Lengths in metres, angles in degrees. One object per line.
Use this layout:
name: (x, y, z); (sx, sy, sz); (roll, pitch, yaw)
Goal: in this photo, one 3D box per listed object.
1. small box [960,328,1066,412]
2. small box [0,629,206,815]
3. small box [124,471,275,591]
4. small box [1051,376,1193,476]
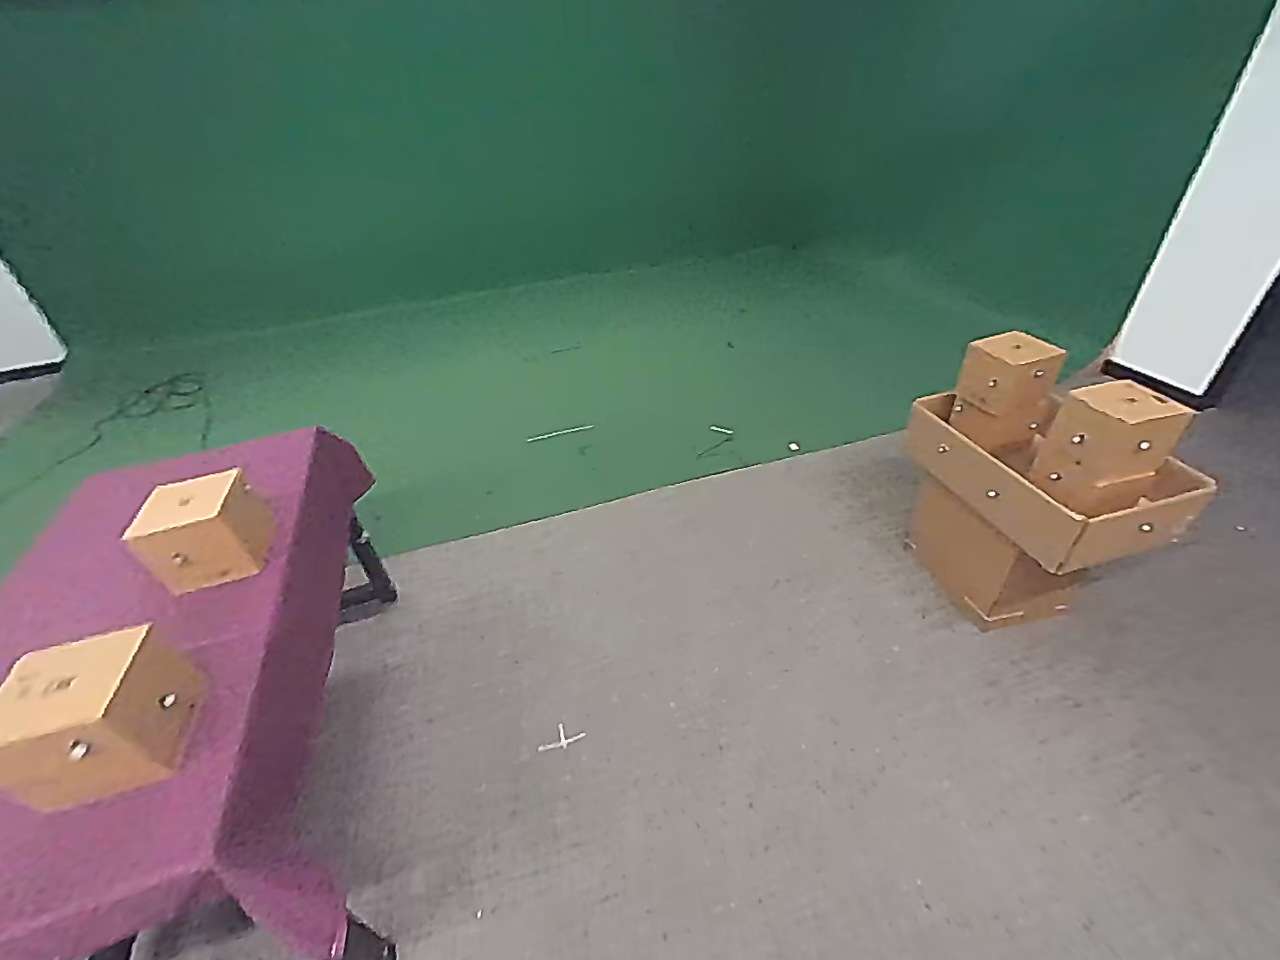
small box: (1.060, -0.315, 1.558); (0.179, 0.176, 0.168); (-15, 39, -12)
small box: (-0.803, 0.358, 0.805); (0.179, 0.176, 0.168); (-15, 38, -10)
small box: (-0.909, 0.113, 1.139); (0.168, 0.176, 0.179); (-15, 38, -11)
small box: (1.143, -0.128, 1.305); (0.179, 0.176, 0.168); (-12, 39, -7)
